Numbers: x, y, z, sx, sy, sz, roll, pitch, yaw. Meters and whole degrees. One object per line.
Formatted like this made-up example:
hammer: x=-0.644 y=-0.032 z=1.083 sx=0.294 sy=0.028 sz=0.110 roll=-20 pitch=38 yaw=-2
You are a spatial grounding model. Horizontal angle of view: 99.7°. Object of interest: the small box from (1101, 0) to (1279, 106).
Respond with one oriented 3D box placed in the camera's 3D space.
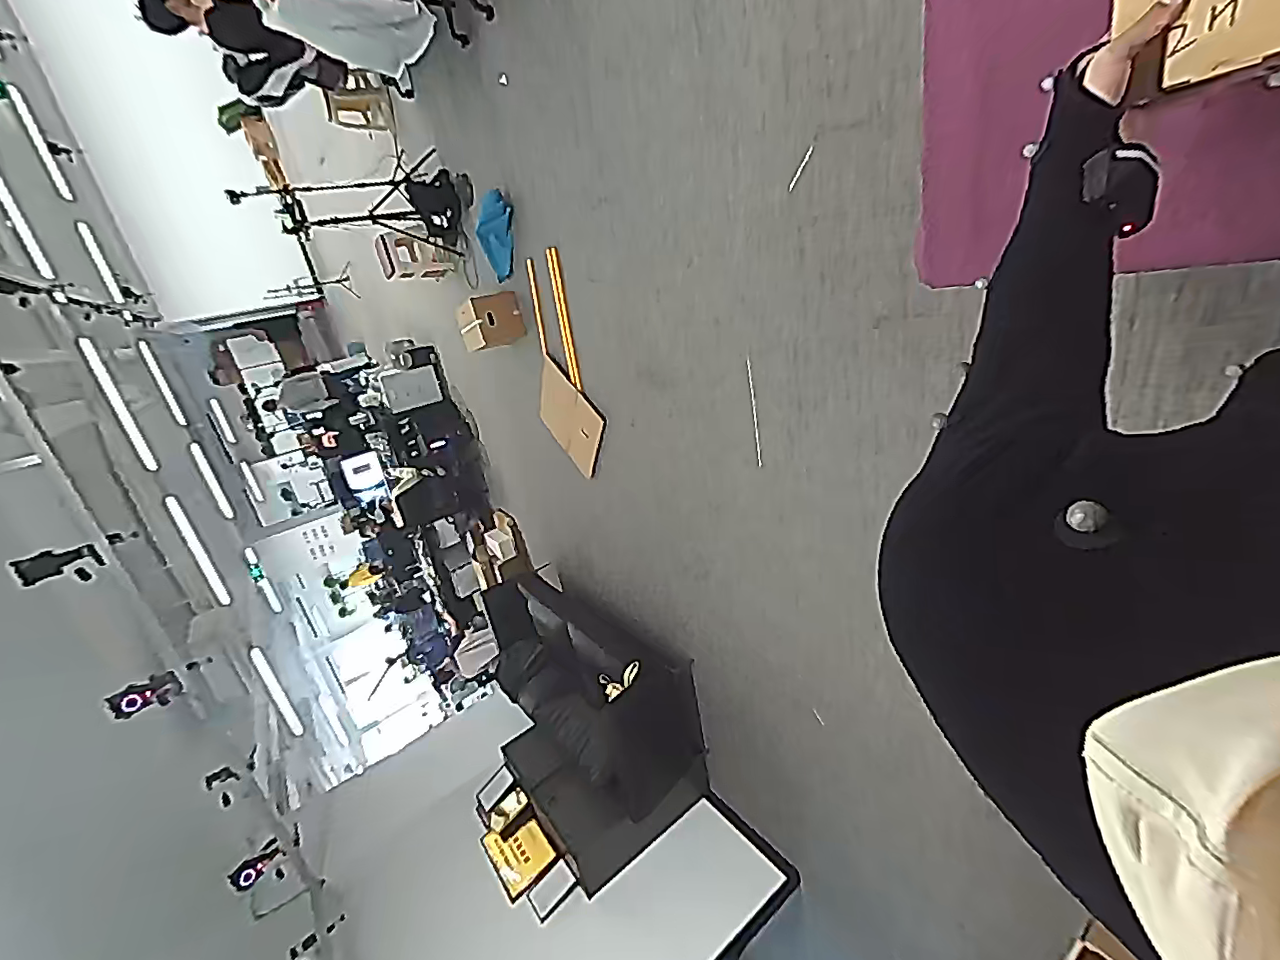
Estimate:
small box: x=0.531 y=-0.442 z=0.446 sx=0.168 sy=0.176 sz=0.179 roll=28 pitch=136 yaw=60
